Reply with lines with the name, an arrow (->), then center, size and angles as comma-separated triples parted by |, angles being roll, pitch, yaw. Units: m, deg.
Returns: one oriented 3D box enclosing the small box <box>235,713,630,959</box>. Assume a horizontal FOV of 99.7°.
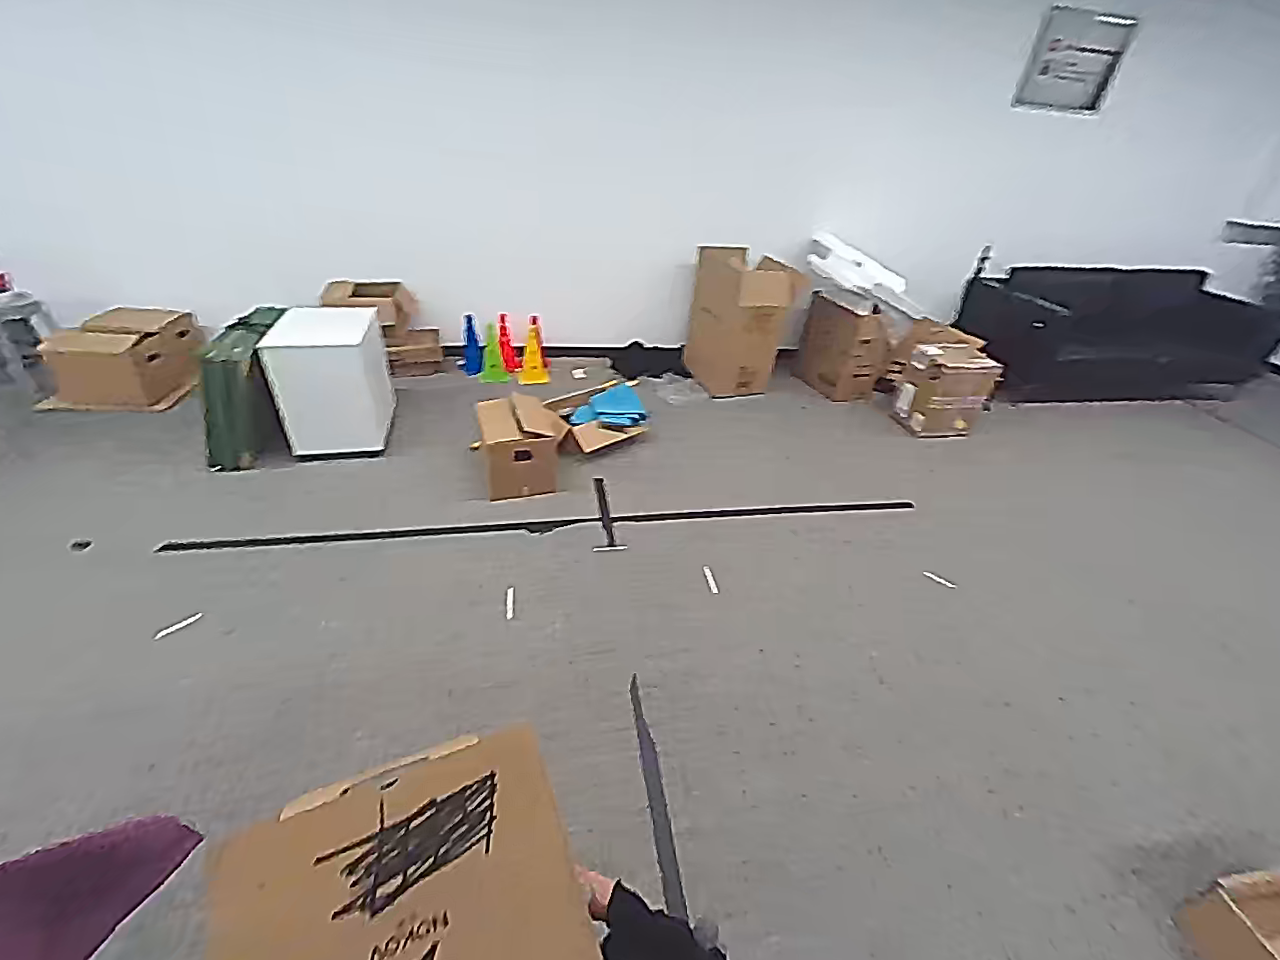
small box -> -0.108, 0.276, 0.314 | 0.168, 0.176, 0.179 | -15, 53, -23
